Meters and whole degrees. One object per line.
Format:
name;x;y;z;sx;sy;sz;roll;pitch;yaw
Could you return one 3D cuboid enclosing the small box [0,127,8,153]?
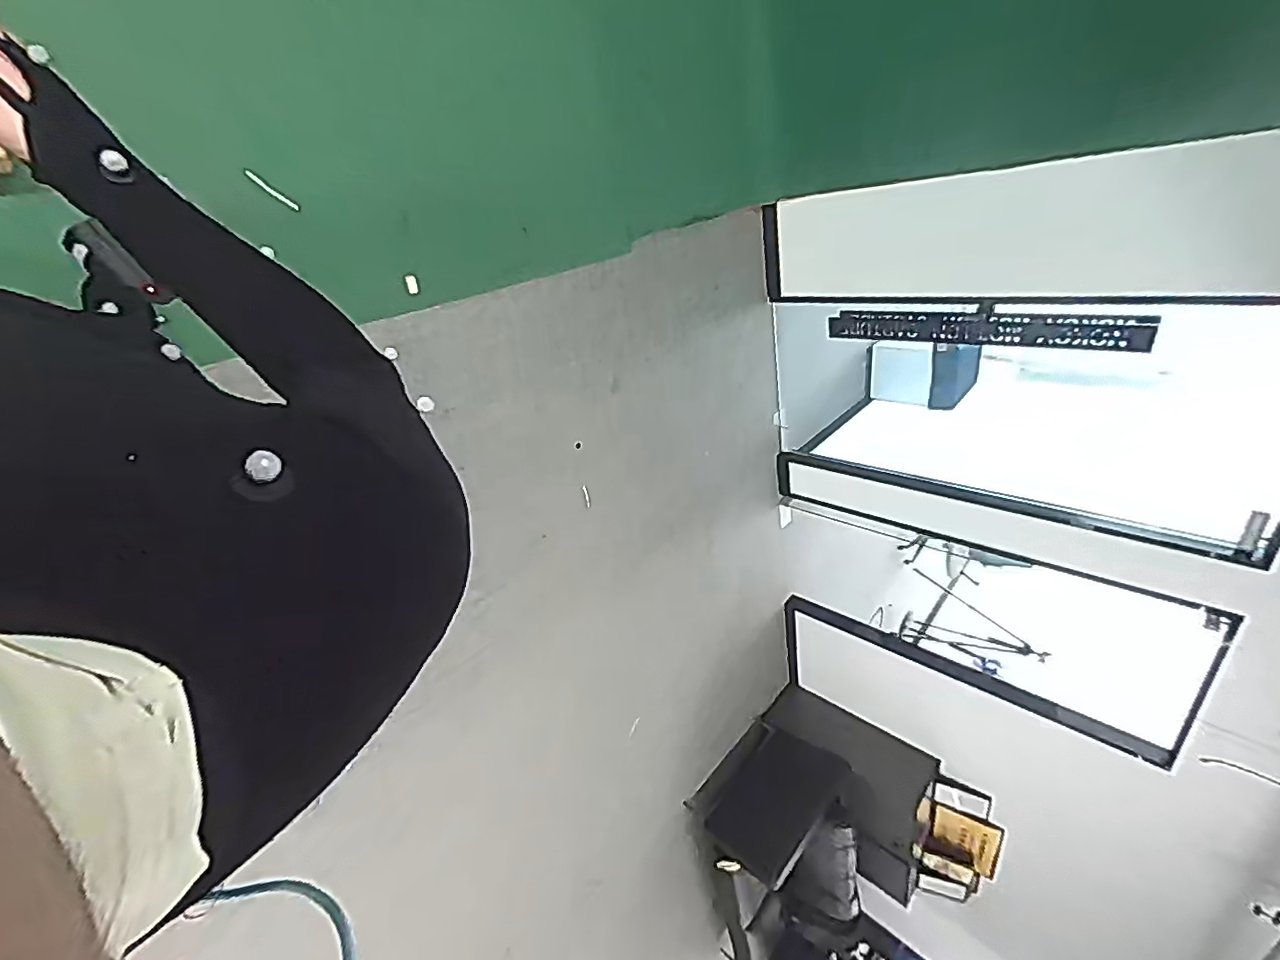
small box;-1.191;-0.639;0.874;0.168;0.176;0.179;-30;125;-36
